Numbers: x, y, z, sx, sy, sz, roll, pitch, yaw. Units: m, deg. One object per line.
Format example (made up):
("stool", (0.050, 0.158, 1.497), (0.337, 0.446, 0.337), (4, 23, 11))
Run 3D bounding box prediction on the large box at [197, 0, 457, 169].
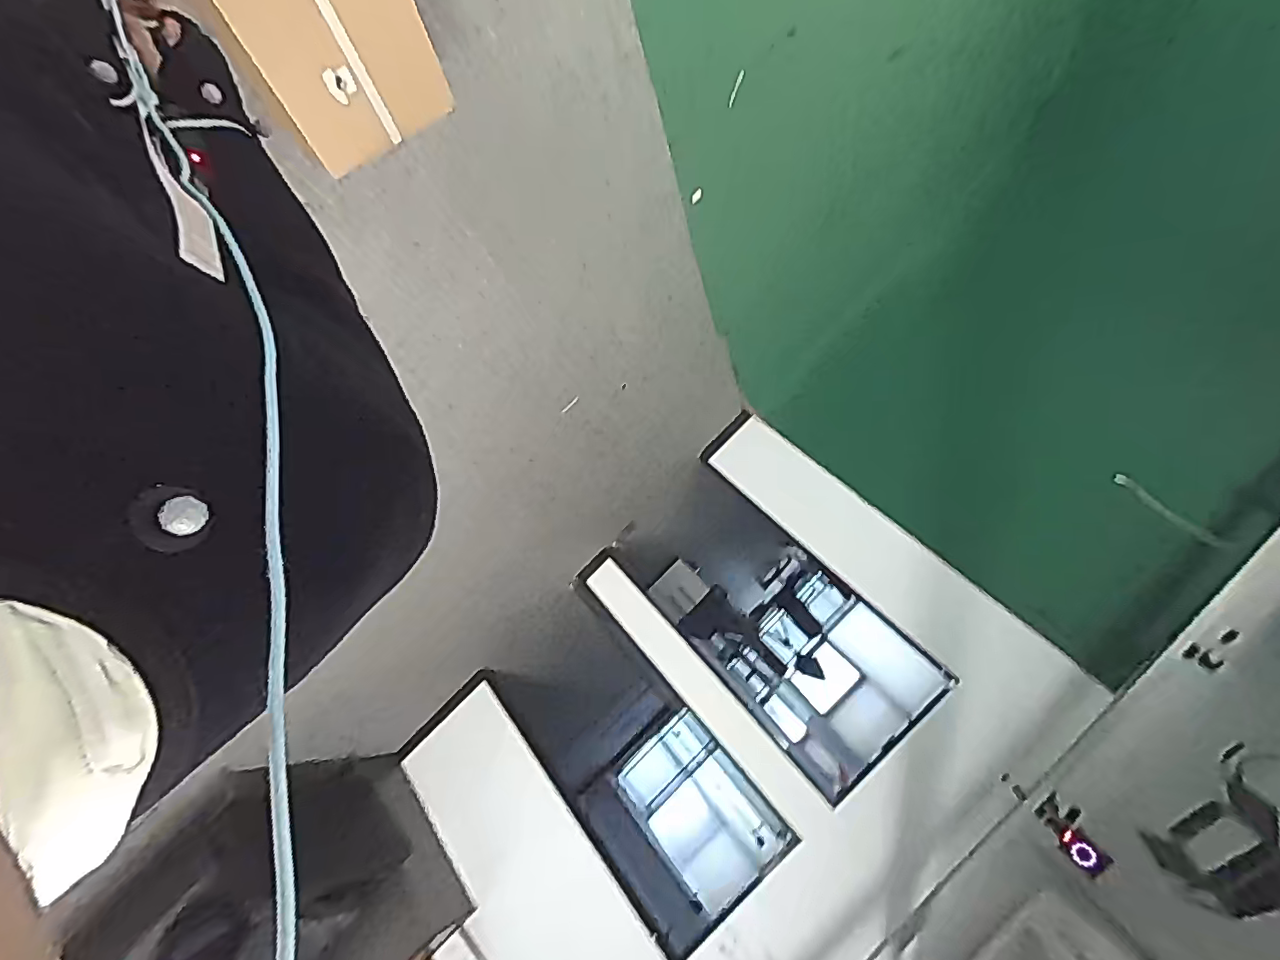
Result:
("large box", (-0.636, -0.913, 1.027), (0.320, 0.320, 0.408), (-39, 153, -11))
